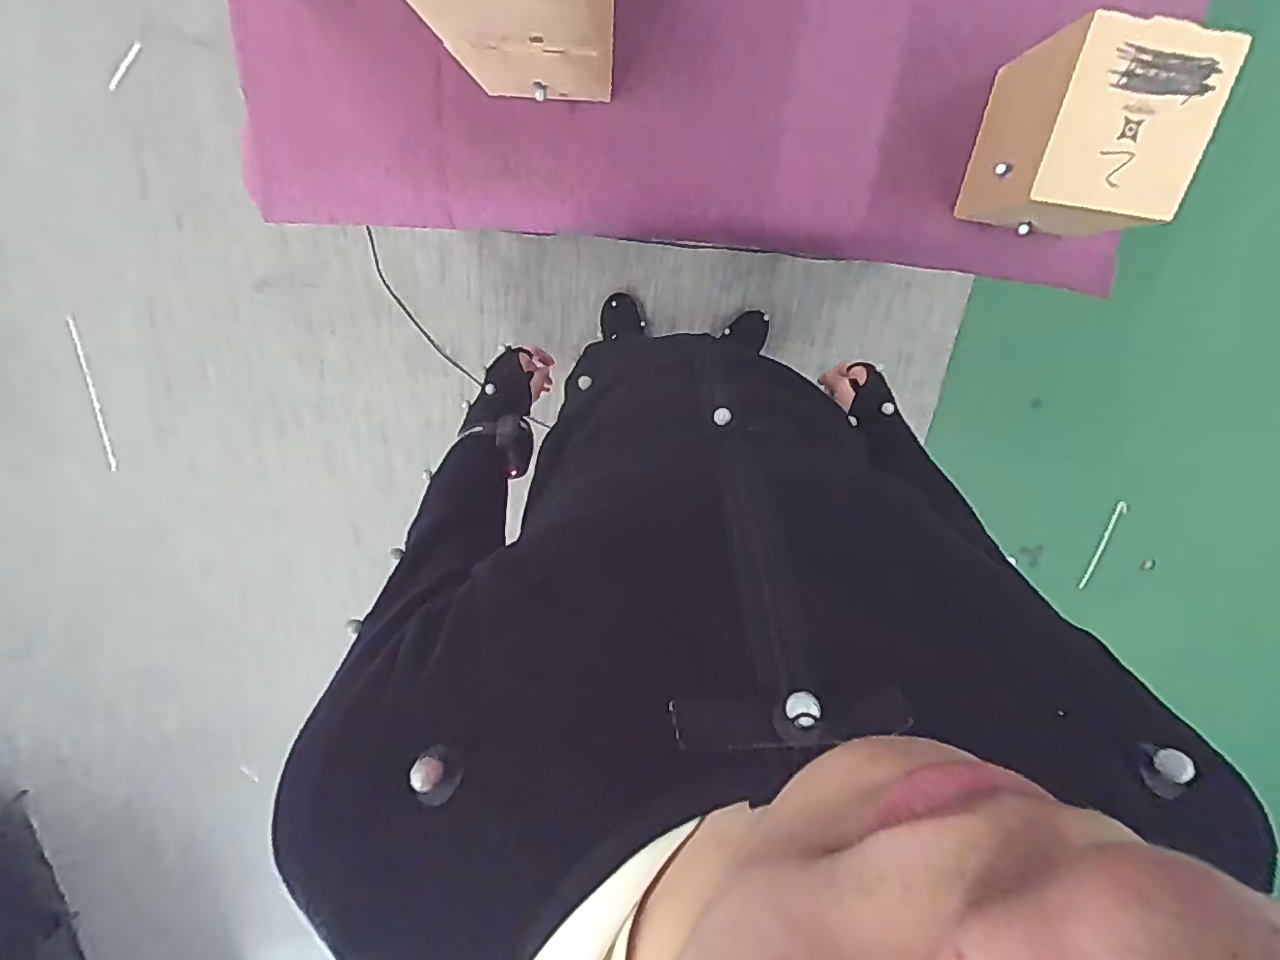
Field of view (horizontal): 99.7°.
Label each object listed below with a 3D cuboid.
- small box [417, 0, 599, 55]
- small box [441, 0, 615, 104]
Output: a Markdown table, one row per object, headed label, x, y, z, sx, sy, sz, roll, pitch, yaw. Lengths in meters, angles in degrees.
| label | x | y | z | sx | sy | sz | roll | pitch | yaw |
| --- | --- | --- | --- | --- | --- | --- | --- | --- | --- |
| small box | -0.122 | -0.502 | 0.456 | 0.168 | 0.176 | 0.179 | 4 | 110 | 1 |
| small box | -0.118 | -0.558 | 0.610 | 0.168 | 0.176 | 0.179 | 4 | 111 | 1 |
